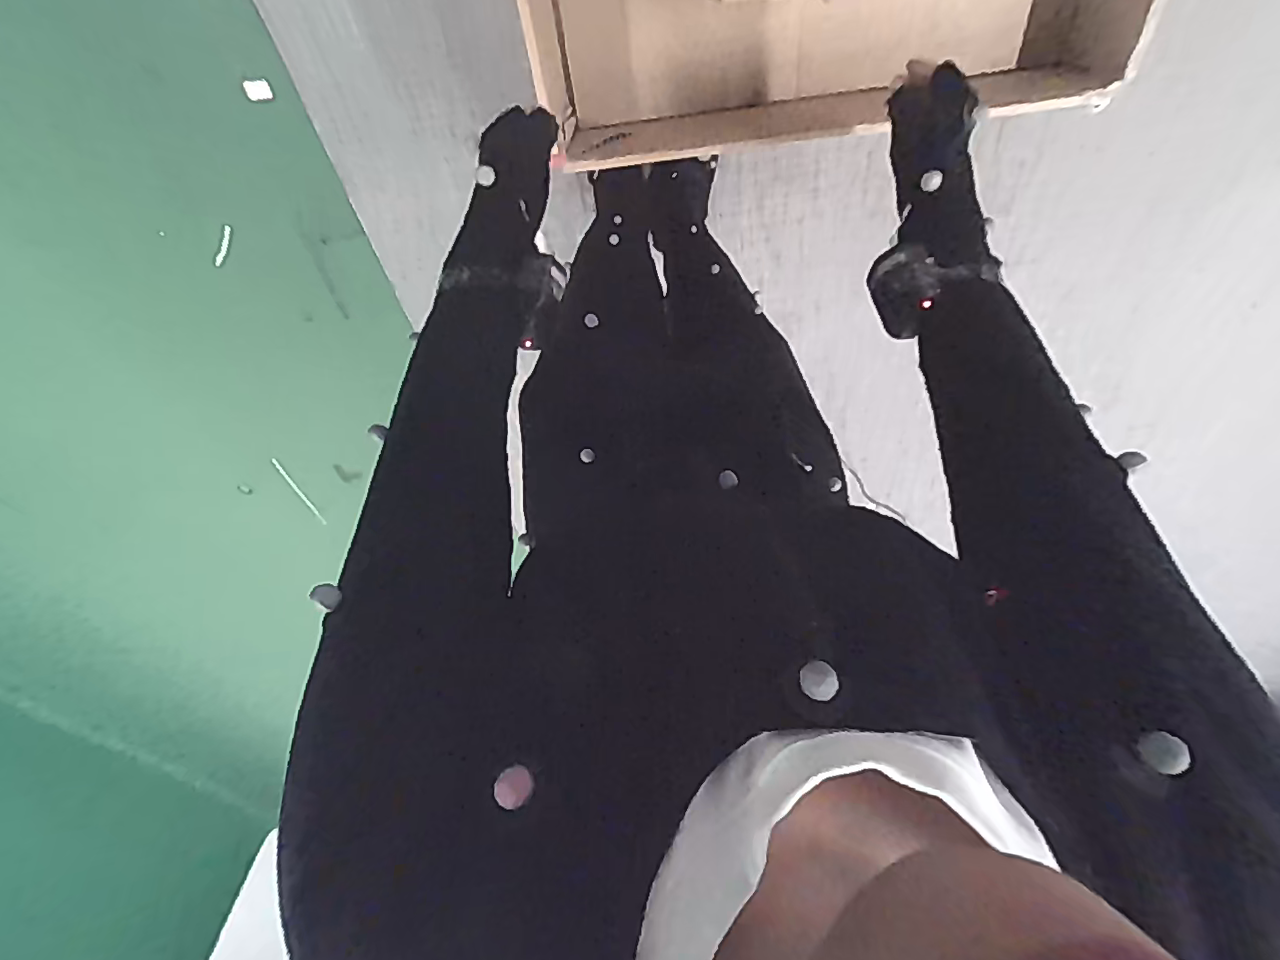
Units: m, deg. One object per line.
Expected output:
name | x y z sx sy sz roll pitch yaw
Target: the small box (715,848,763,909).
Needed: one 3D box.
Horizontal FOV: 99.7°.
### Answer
small box | 0.386 1.555 2.113 0.168 0.176 0.179 -7 133 9
